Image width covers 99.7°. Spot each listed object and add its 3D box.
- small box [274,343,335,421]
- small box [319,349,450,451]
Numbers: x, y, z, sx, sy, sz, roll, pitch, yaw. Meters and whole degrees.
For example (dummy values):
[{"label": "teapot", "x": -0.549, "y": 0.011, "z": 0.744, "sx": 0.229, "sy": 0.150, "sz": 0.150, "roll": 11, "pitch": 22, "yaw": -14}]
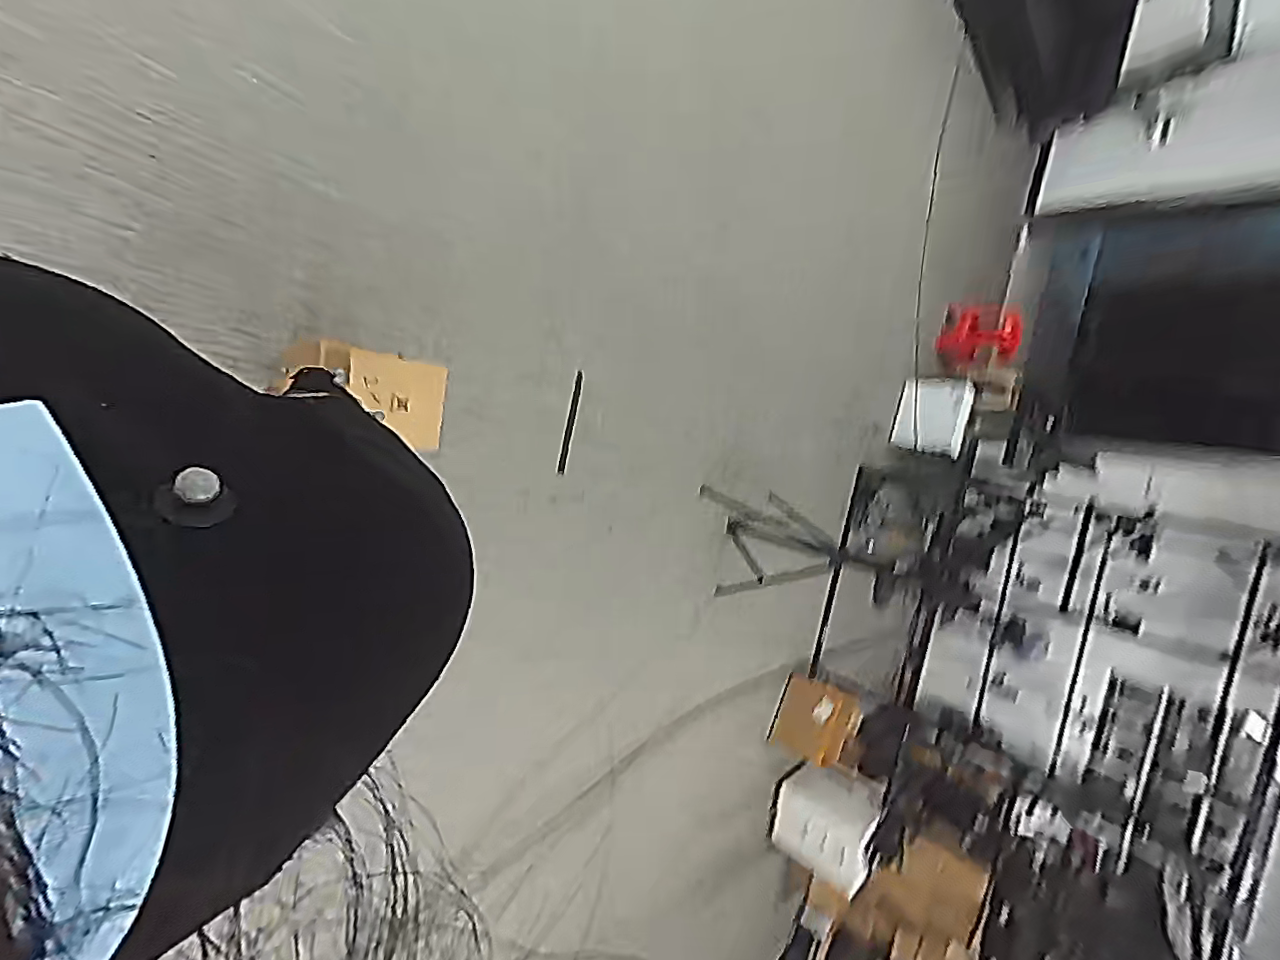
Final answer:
[{"label": "small box", "x": -0.734, "y": -0.222, "z": 1.279, "sx": 0.179, "sy": 0.176, "sz": 0.168, "roll": 10, "pitch": 94, "yaw": -46}, {"label": "small box", "x": -0.500, "y": -0.157, "z": 1.056, "sx": 0.179, "sy": 0.176, "sz": 0.168, "roll": 5, "pitch": 97, "yaw": -45}]
